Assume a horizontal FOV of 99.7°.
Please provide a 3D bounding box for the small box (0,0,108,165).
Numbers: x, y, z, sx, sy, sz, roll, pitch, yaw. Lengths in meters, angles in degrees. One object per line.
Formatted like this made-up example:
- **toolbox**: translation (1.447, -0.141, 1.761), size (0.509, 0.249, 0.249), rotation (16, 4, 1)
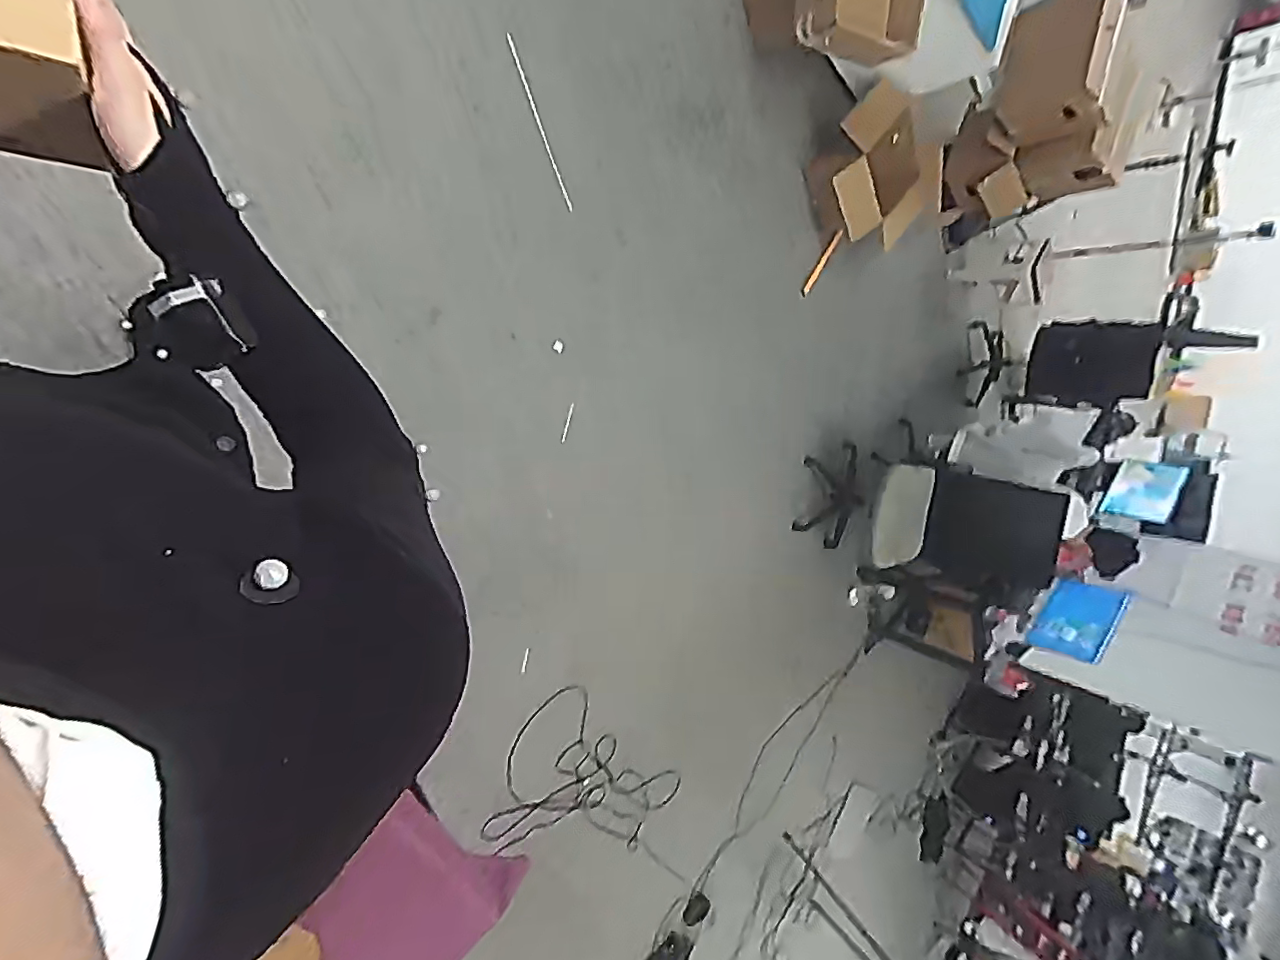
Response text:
- **small box**: translation (-0.465, -0.339, 0.337), size (0.168, 0.176, 0.179), rotation (-6, 97, -38)
